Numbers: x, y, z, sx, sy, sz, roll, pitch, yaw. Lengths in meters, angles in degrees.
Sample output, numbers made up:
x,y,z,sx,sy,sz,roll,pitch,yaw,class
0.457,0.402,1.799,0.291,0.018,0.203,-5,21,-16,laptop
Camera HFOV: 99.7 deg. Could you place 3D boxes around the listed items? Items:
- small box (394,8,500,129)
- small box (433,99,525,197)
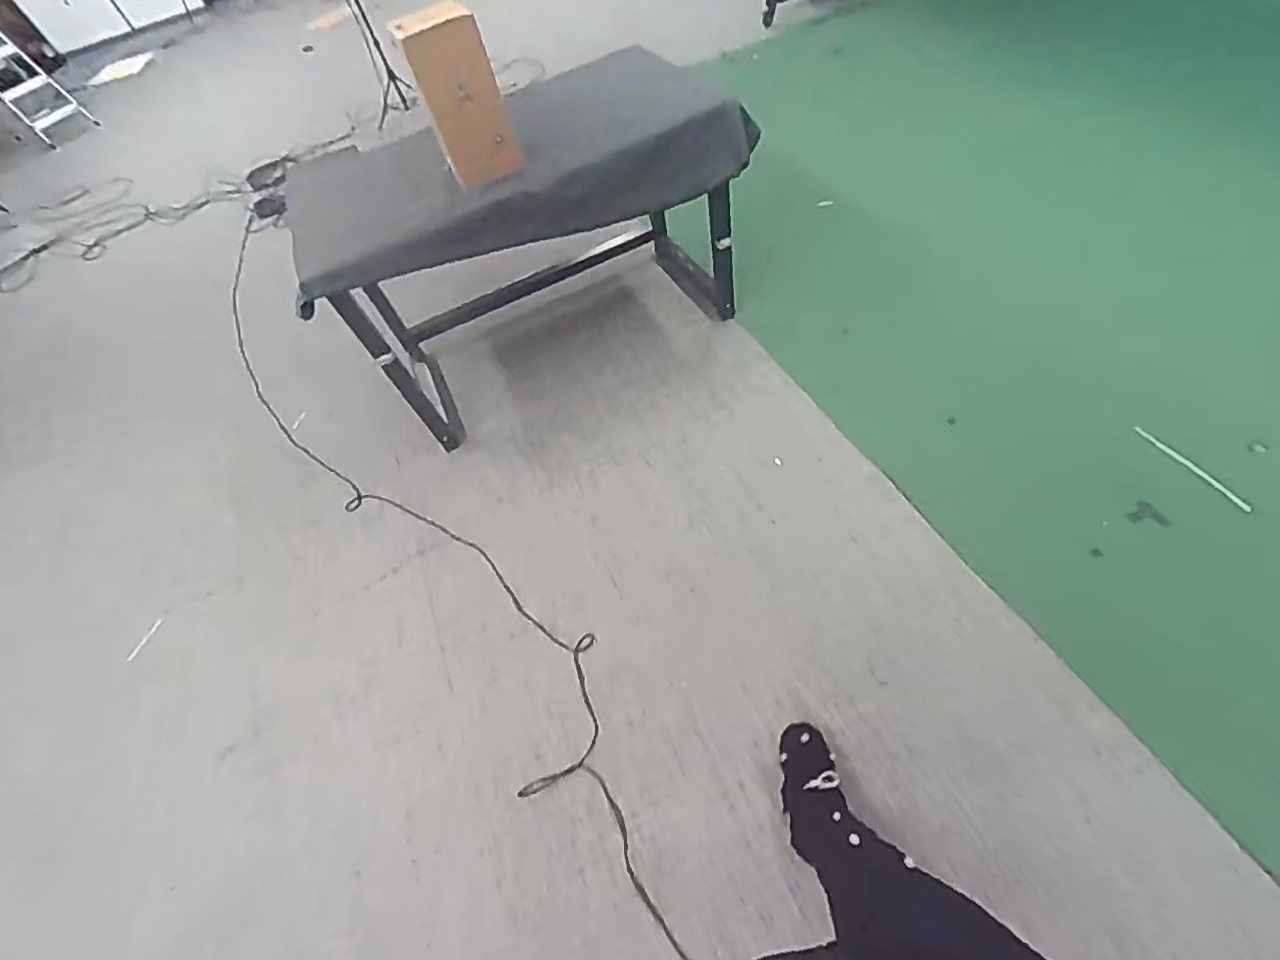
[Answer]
x,y,z,sx,sy,sz,roll,pitch,yaw,class
-0.448,-0.972,1.280,0.179,0.176,0.168,-27,53,-8,small box
-0.415,-0.876,1.409,0.179,0.176,0.168,-28,53,-6,small box
